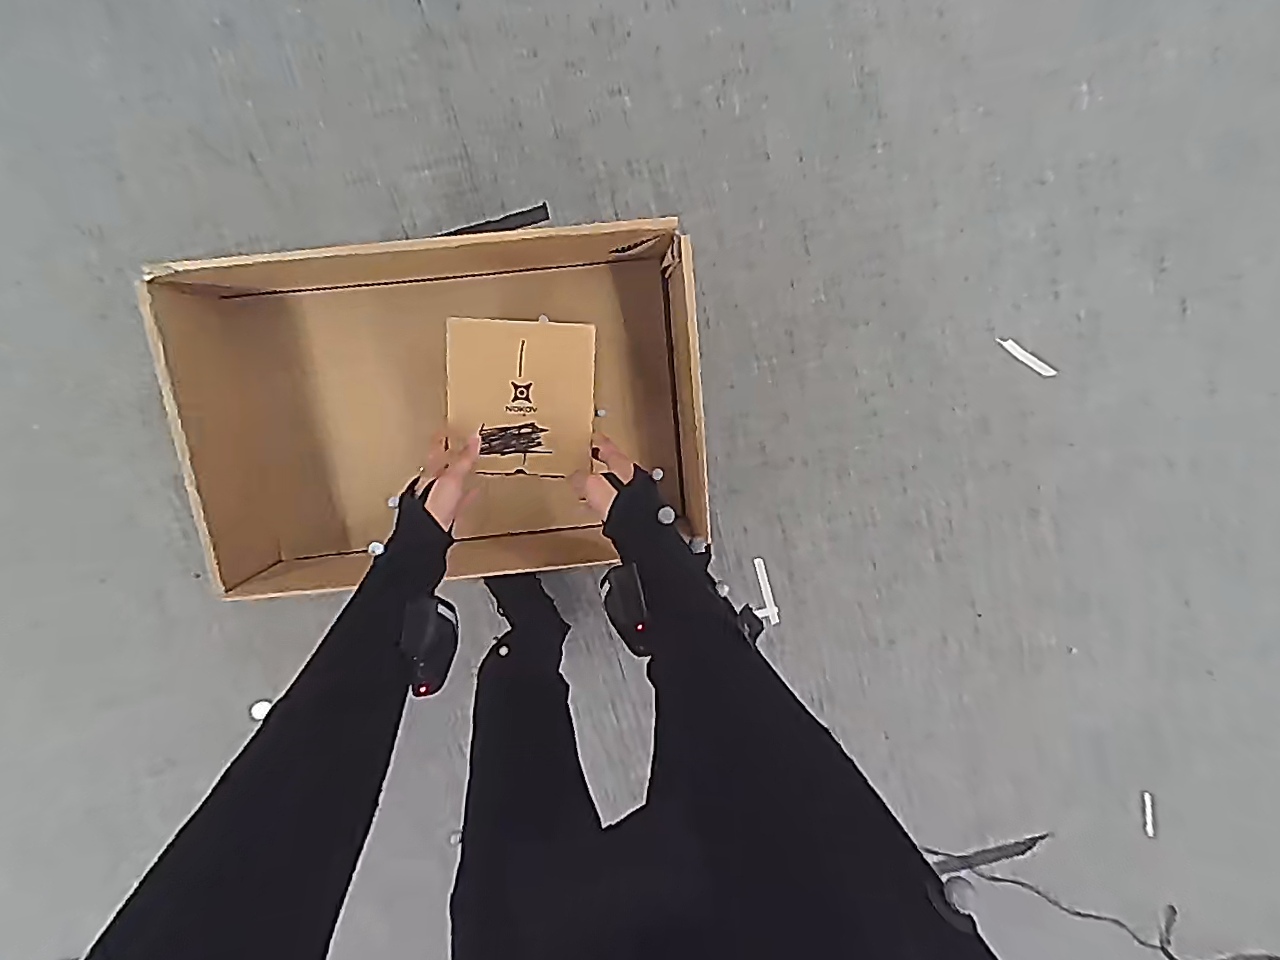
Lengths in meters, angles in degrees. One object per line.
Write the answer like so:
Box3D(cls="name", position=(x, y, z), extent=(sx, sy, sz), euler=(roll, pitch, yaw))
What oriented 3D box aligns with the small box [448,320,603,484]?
Box3D(cls="small box", position=(-0.134, -0.100, 0.684), extent=(0.168, 0.176, 0.179), euler=(2, 100, -2))
